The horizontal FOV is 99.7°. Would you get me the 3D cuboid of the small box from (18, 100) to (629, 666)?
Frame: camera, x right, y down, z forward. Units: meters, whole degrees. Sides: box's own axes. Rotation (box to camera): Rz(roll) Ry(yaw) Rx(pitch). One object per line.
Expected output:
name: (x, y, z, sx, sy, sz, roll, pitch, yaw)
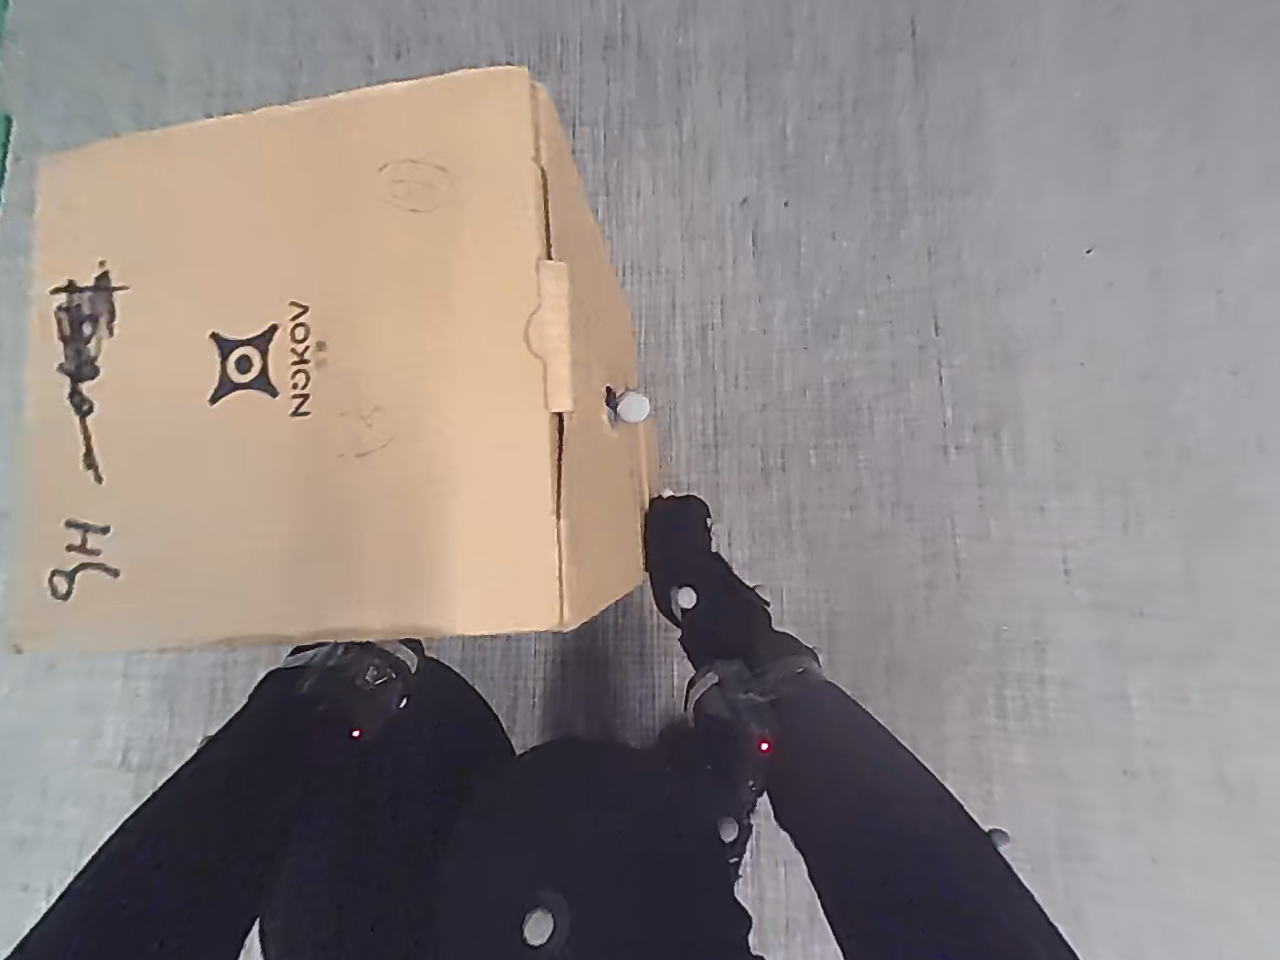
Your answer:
small box: (-0.100, -0.021, 0.244, 0.179, 0.176, 0.168, -5, 83, 7)
